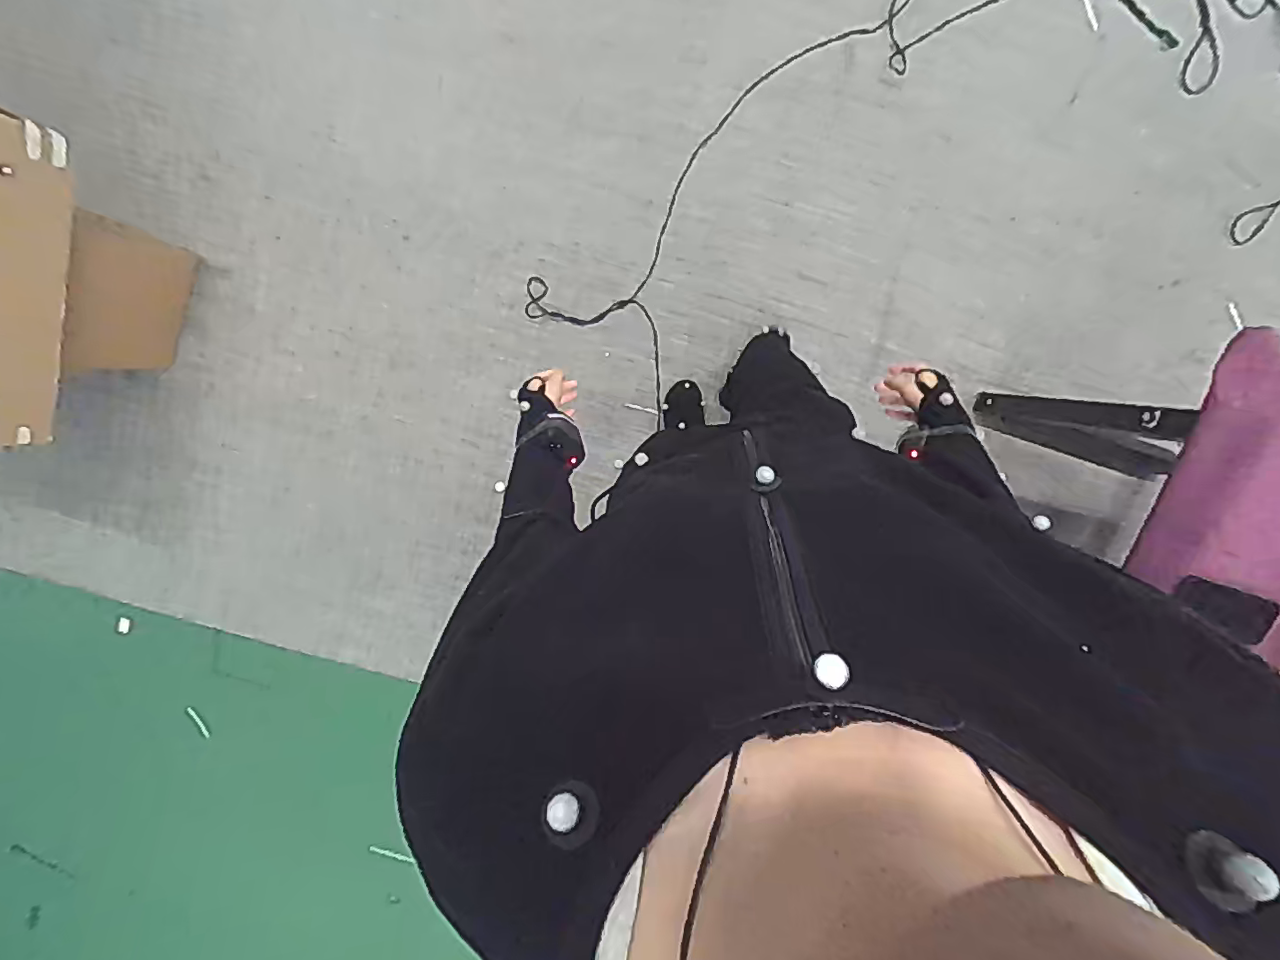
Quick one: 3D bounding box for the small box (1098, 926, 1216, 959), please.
[{"bbox_3d":[0.849,0.846,0.832,0.179,0.176,0.168,22,99,-3],"label":"small box"}]
